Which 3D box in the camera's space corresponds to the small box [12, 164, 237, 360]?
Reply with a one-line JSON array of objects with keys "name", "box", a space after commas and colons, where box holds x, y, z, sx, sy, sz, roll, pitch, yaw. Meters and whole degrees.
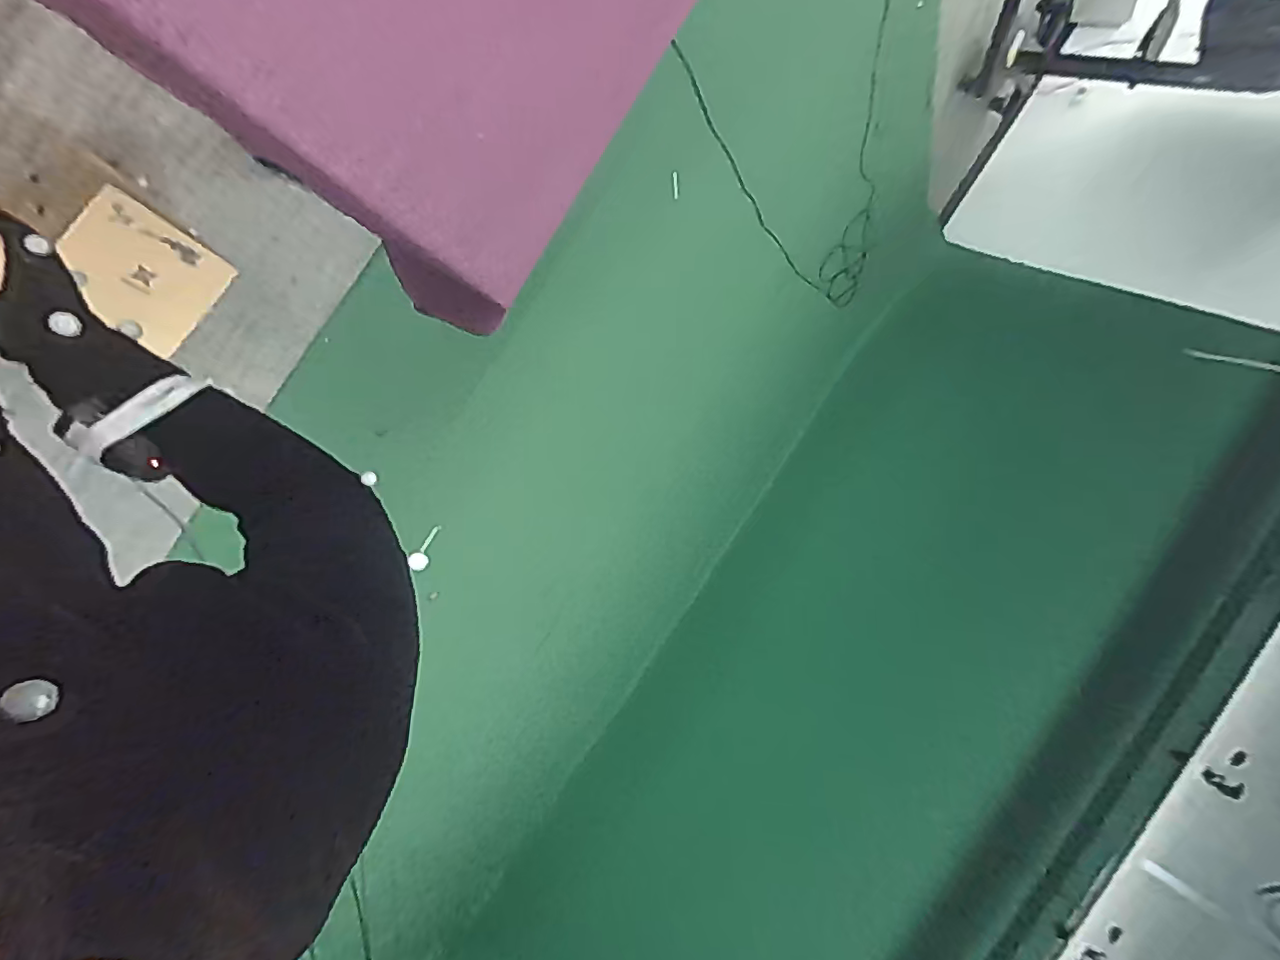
[{"name": "small box", "box": [-0.737, -0.311, 0.775, 0.179, 0.176, 0.168, -53, 150, -4]}]

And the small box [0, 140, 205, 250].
[{"name": "small box", "box": [-0.853, -0.397, 0.855, 0.179, 0.176, 0.168, -53, 150, -8]}]
